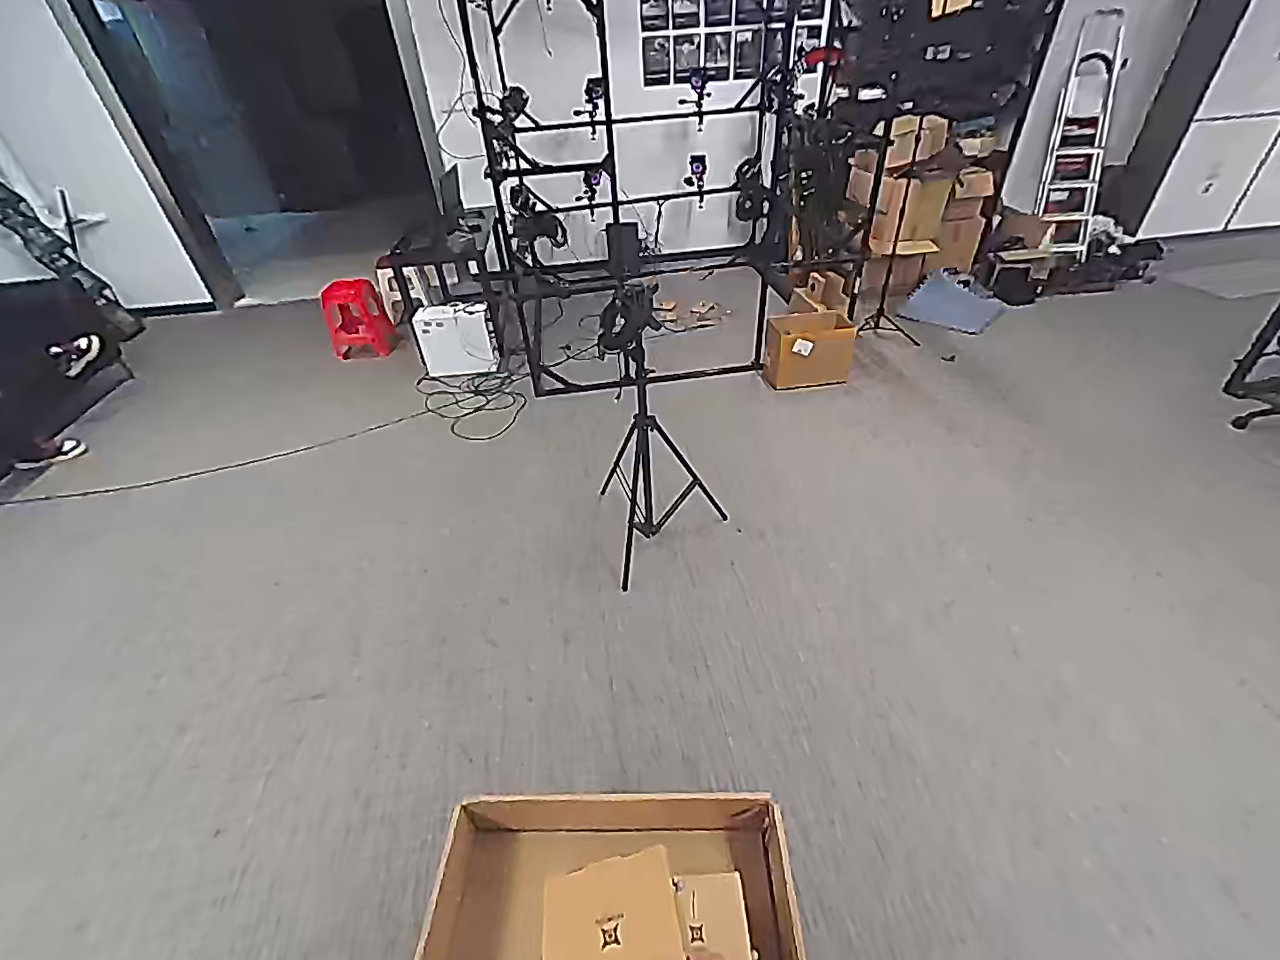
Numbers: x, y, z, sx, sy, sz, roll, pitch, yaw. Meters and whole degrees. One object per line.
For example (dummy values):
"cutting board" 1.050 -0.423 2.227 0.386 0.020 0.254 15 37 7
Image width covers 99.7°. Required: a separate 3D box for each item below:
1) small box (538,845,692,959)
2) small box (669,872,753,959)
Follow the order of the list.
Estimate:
"small box" -0.020 0.596 0.646 0.168 0.176 0.179 -14 18 -4
"small box" 0.093 0.767 0.873 0.168 0.176 0.179 -3 37 1
